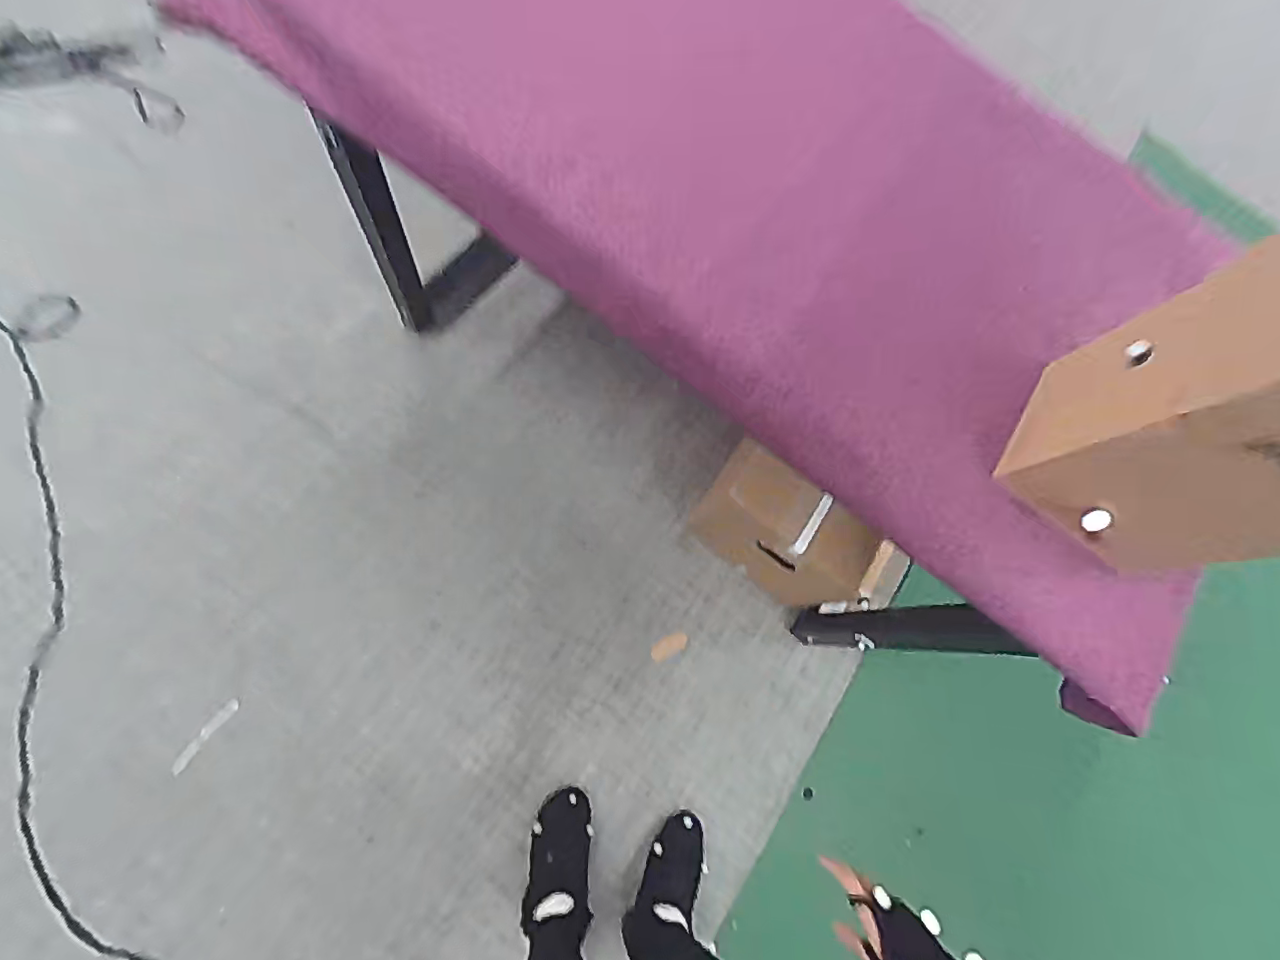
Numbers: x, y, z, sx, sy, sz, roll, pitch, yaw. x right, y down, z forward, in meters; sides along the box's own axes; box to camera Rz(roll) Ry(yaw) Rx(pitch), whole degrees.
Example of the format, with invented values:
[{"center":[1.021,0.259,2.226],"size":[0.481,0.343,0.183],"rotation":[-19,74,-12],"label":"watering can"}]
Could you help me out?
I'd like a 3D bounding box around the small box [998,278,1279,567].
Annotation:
[{"center":[0.485,-0.042,0.506],"size":[0.168,0.176,0.179],"rotation":[37,70,3],"label":"small box"}]
